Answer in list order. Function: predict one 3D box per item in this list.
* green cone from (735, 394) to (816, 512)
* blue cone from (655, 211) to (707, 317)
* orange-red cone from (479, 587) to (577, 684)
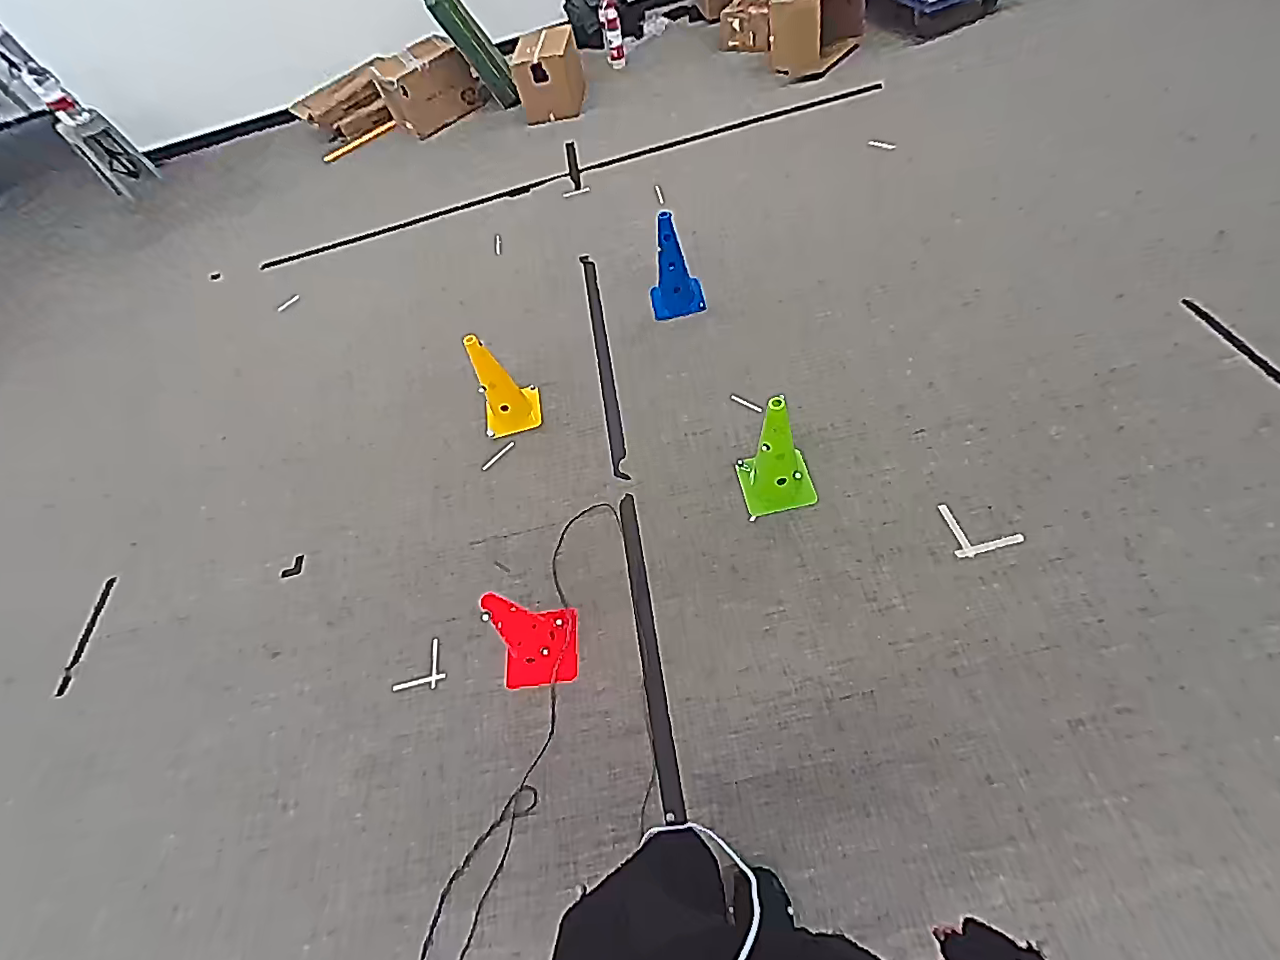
[{"bbox_3d":[0.367,-0.093,1.455,0.202,0.368,0.200,-12,56,3],"label":"green cone"},{"bbox_3d":[0.129,-0.802,1.990,0.192,0.380,0.193,-9,56,6],"label":"blue cone"},{"bbox_3d":[-0.302,0.351,1.324,0.199,0.360,0.198,-10,54,8],"label":"orange-red cone"}]
